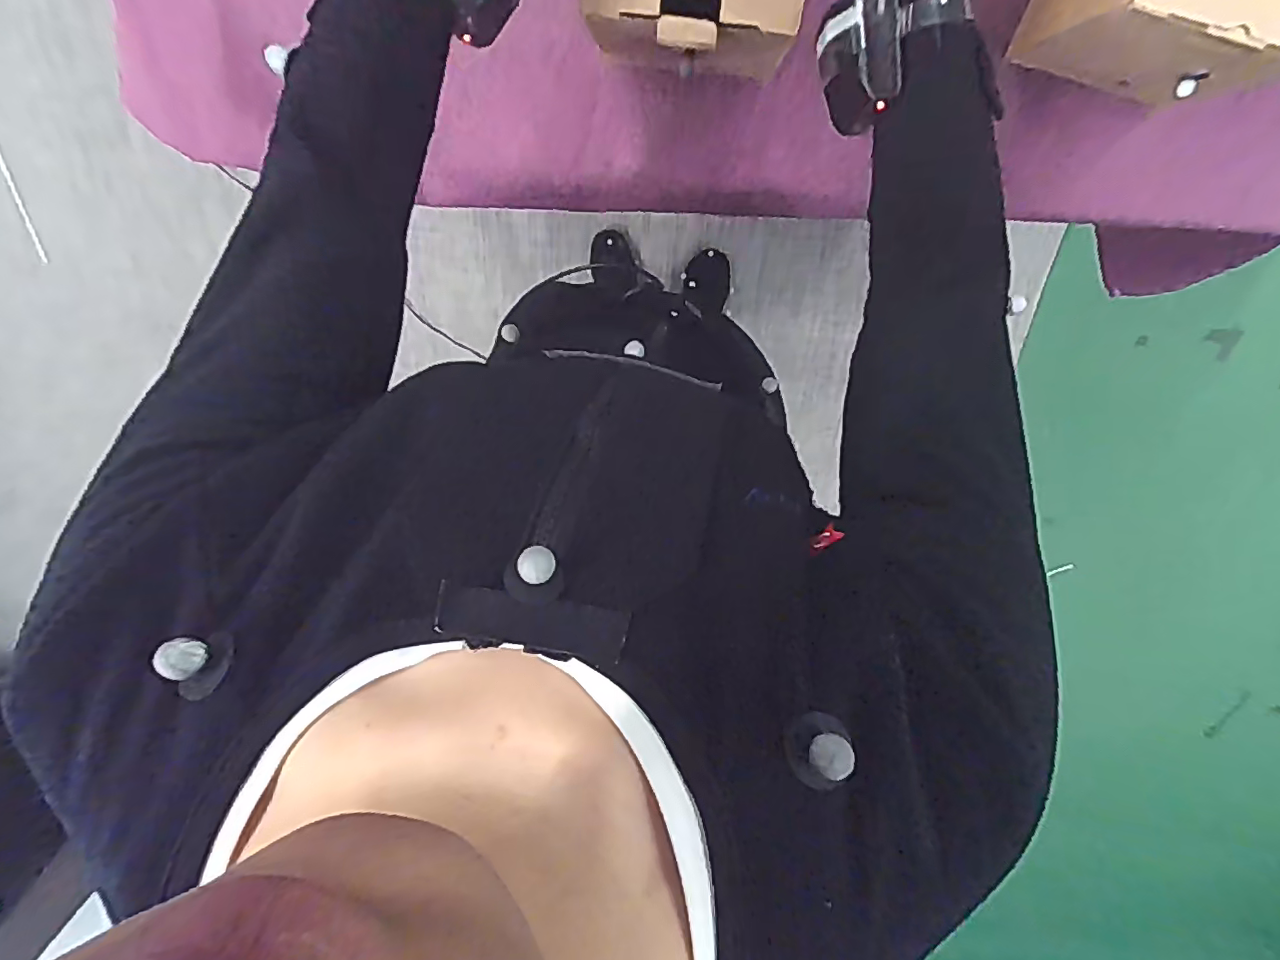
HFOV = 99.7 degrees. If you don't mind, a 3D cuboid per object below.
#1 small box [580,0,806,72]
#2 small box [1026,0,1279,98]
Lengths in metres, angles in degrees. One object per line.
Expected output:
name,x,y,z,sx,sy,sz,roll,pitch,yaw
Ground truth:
small box,0.052,-0.444,0.423,0.168,0.176,0.179,7,119,1
small box,0.438,-0.414,0.403,0.168,0.176,0.179,14,118,-3
